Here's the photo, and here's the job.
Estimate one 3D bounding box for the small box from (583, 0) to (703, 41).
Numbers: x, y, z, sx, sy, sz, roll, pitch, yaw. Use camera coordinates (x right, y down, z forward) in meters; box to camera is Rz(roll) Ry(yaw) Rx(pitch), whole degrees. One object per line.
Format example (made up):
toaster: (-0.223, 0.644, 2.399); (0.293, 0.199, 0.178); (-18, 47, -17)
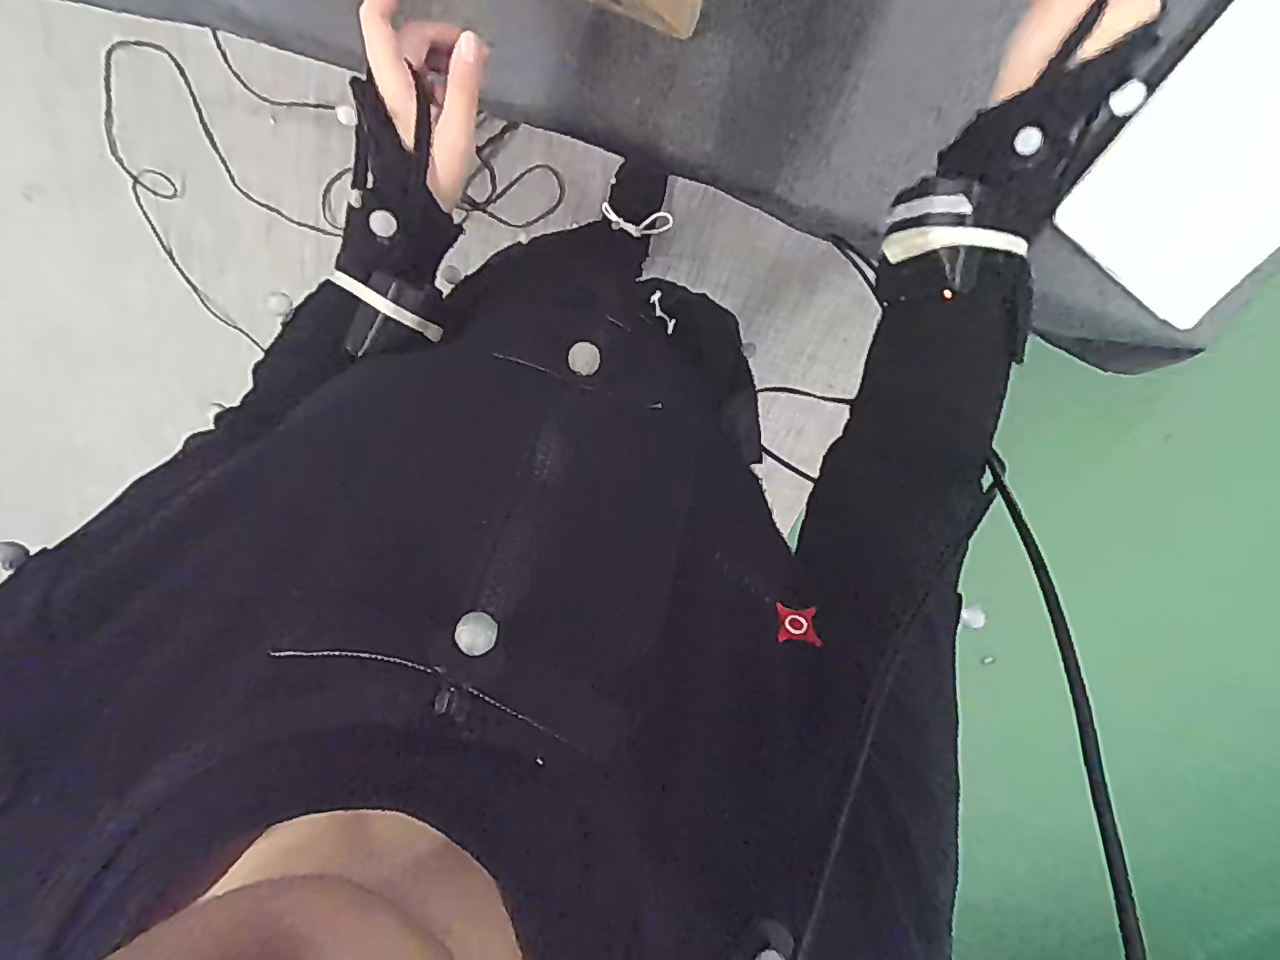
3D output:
small box: (-0.016, -0.396, 0.309); (0.168, 0.176, 0.179); (18, 118, -7)
